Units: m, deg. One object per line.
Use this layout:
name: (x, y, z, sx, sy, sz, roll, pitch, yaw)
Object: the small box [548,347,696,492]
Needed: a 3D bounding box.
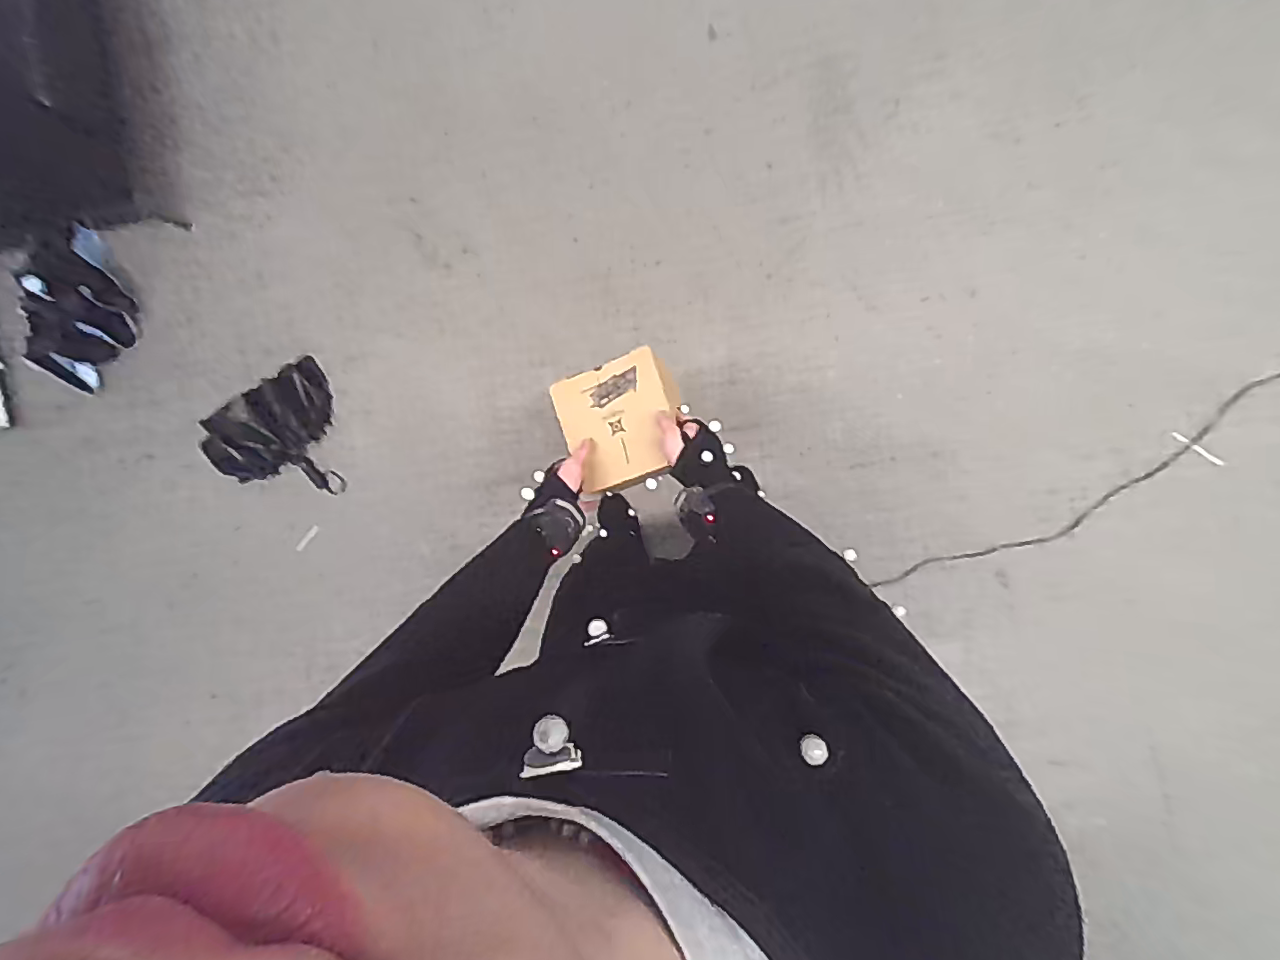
small box: (-0.020, -0.087, 0.866, 0.168, 0.176, 0.179, -19, 87, 14)
